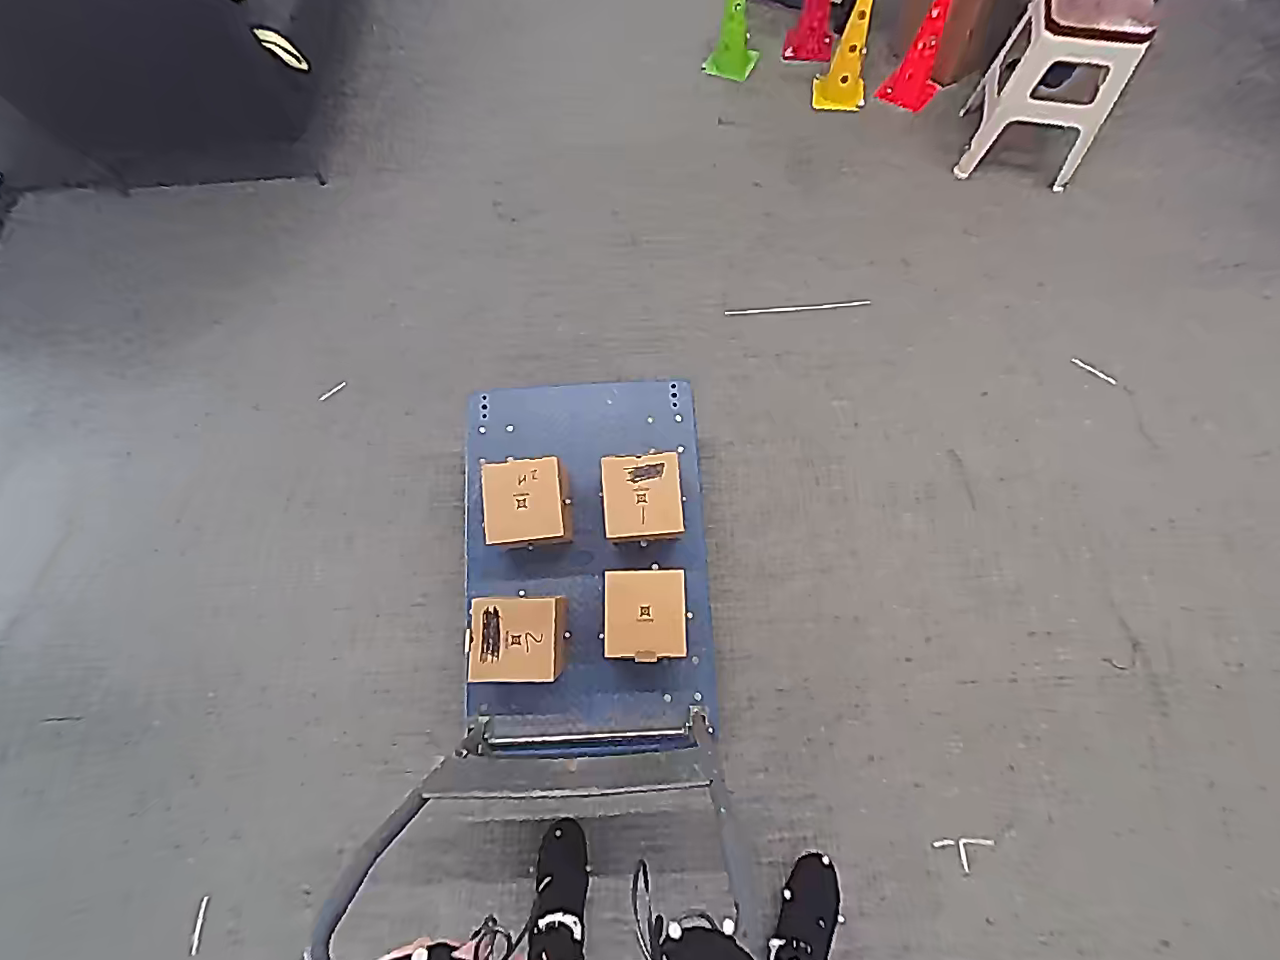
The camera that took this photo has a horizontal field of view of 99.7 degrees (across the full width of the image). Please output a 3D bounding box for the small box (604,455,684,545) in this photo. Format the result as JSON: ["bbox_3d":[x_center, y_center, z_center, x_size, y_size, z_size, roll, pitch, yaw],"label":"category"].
[{"bbox_3d":[0.009,0.051,1.218,0.168,0.176,0.179,-4,80,2],"label":"small box"}]

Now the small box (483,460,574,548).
[{"bbox_3d":[-0.246,0.061,1.226,0.168,0.176,0.179,-6,79,0],"label":"small box"}]

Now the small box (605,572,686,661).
[{"bbox_3d":[0.013,0.291,1.175,0.168,0.176,0.179,-1,80,2],"label":"small box"}]
